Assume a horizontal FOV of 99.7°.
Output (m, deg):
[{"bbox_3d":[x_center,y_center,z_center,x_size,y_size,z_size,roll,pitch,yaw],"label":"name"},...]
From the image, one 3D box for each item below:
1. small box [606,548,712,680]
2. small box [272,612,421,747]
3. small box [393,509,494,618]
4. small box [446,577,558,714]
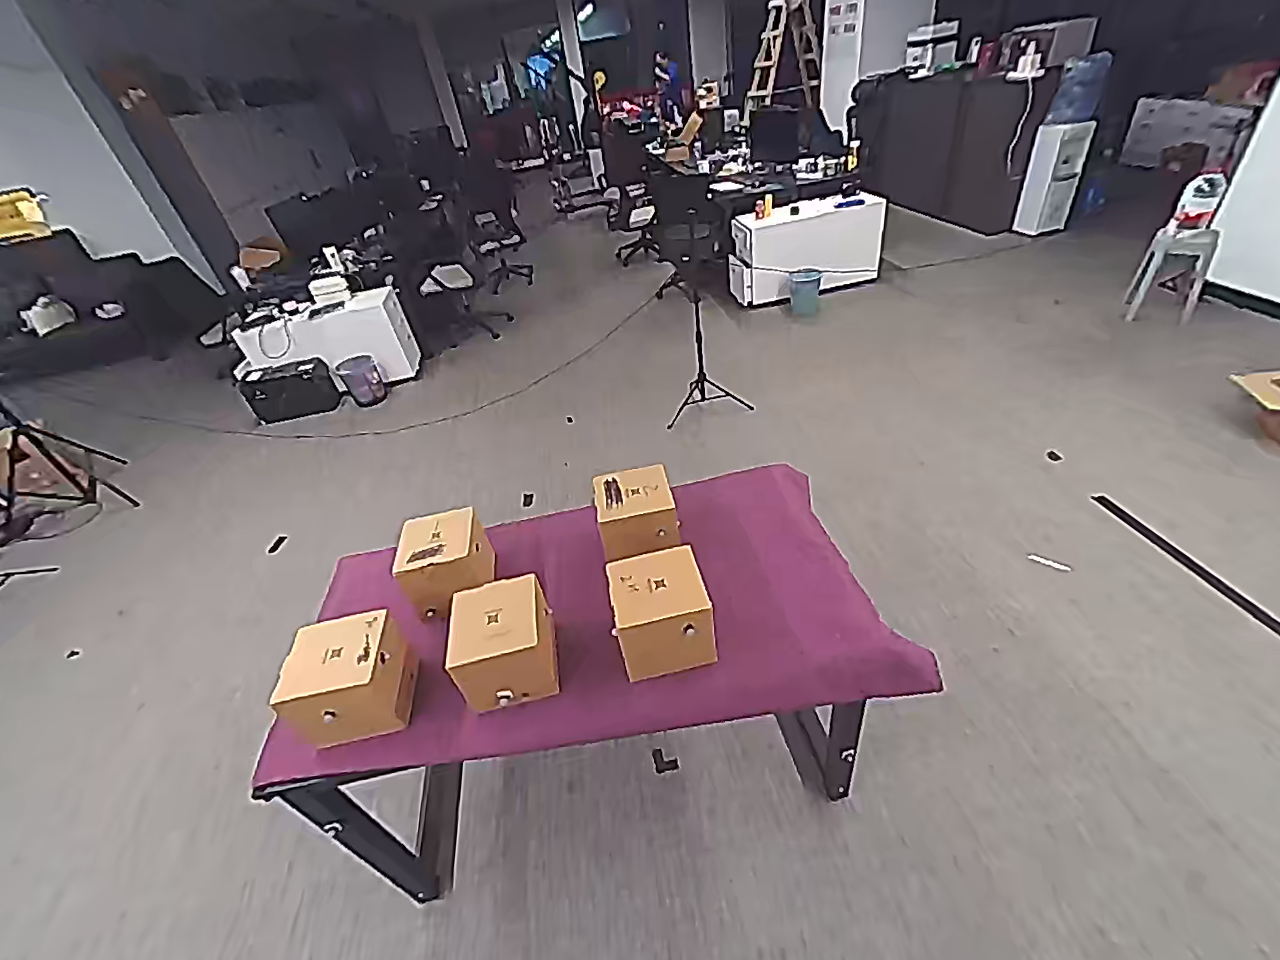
[{"bbox_3d":[0.040,0.264,1.062,0.179,0.176,0.168,-13,37,-2],"label":"small box"},{"bbox_3d":[-0.552,0.388,1.045,0.179,0.176,0.168,-13,38,-2],"label":"small box"},{"bbox_3d":[-0.447,0.200,1.262,0.168,0.176,0.179,-13,38,-3],"label":"small box"},{"bbox_3d":[-0.263,0.325,1.062,0.168,0.176,0.179,-14,40,-3],"label":"small box"}]
